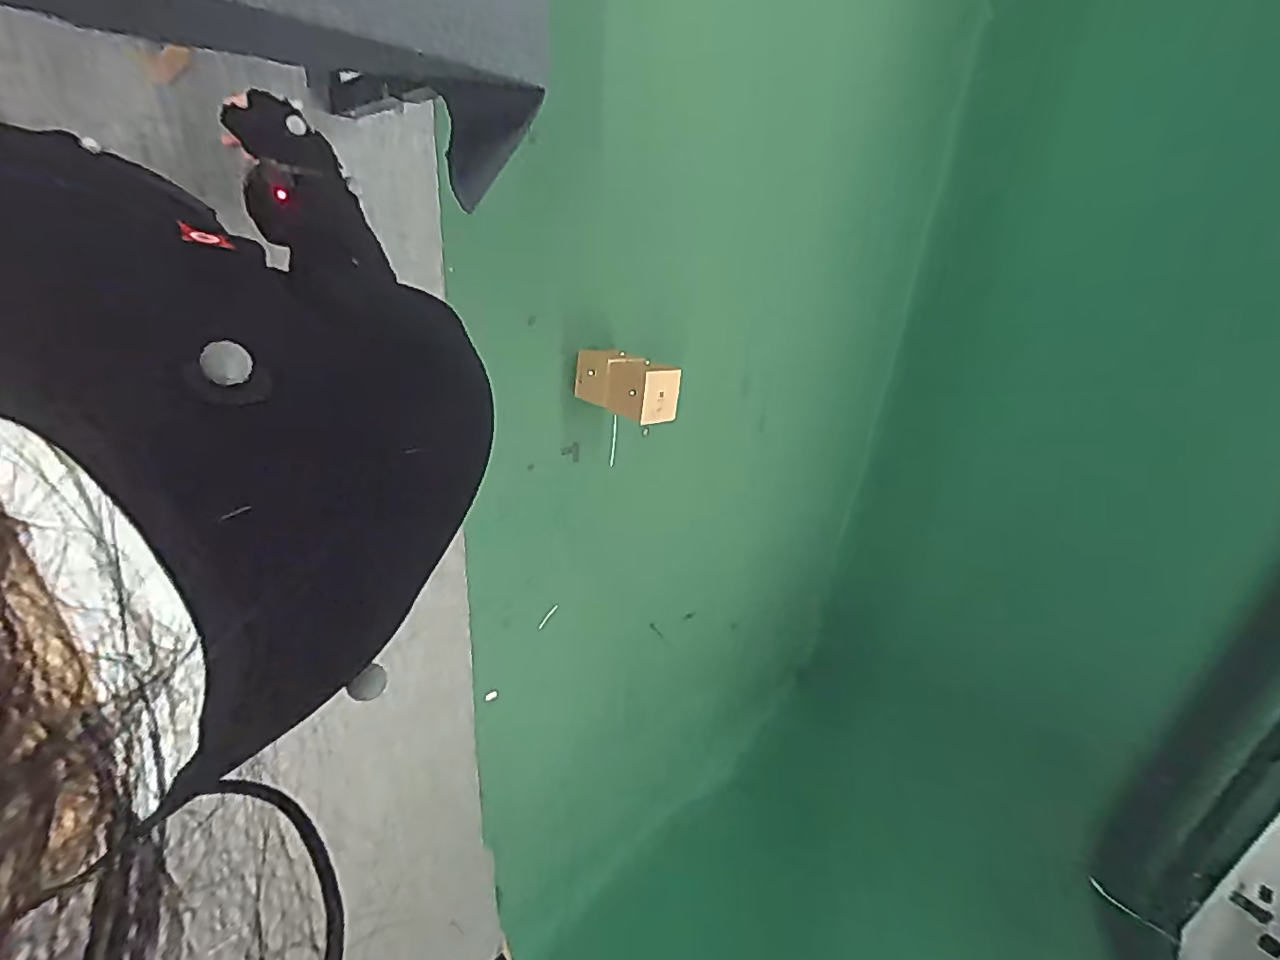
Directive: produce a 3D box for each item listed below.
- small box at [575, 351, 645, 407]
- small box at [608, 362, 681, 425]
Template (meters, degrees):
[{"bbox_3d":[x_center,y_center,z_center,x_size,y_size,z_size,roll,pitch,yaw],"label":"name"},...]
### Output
[{"bbox_3d":[-0.109,-0.355,1.894,0.179,0.176,0.168,-12,118,-44],"label":"small box"},{"bbox_3d":[0.011,-0.296,1.798,0.168,0.176,0.179,-14,120,-43],"label":"small box"}]
